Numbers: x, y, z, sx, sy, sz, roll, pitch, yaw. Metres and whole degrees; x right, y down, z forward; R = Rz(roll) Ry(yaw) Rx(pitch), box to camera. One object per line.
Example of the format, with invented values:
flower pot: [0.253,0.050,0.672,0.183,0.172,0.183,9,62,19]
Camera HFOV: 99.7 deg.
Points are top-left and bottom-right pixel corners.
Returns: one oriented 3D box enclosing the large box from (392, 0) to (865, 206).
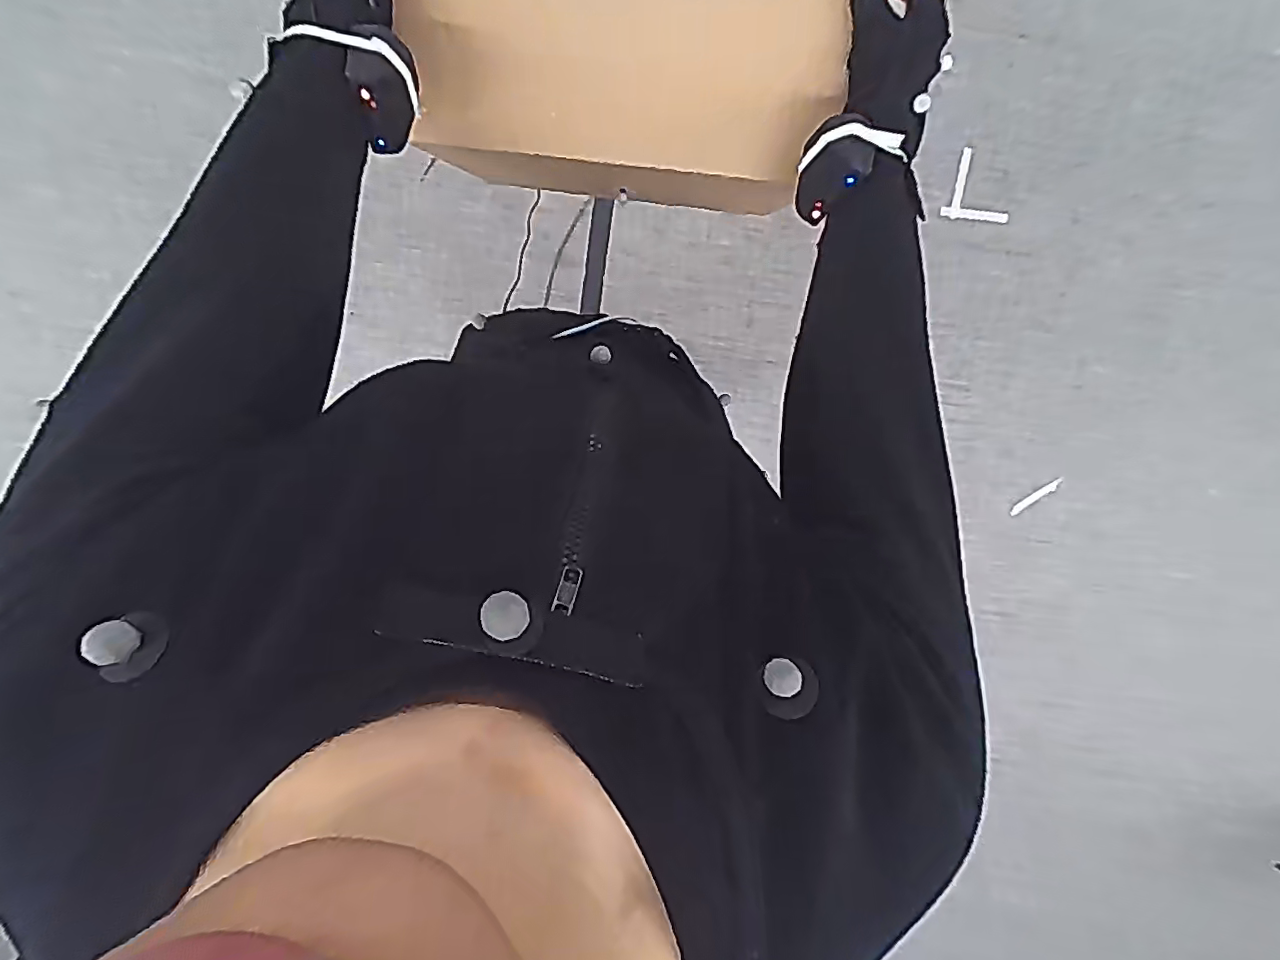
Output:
large box: [-0.002,-0.492,0.578,0.408,0.320,0.320,6,111,-1]
